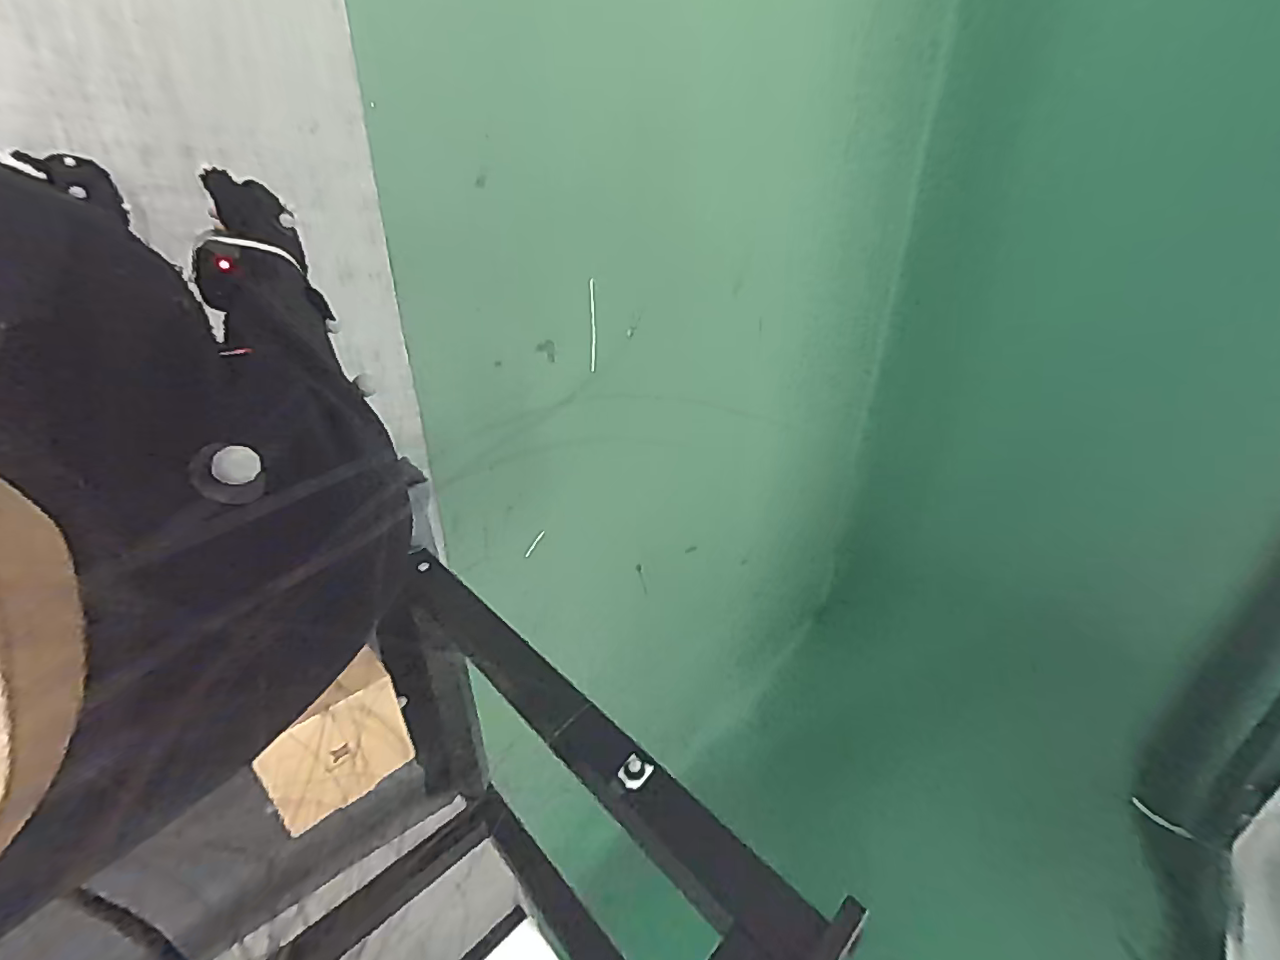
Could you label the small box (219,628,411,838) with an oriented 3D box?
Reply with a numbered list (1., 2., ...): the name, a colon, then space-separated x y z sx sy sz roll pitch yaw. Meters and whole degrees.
1. small box: -0.451 0.334 0.754 0.168 0.176 0.179 -25 127 -38
